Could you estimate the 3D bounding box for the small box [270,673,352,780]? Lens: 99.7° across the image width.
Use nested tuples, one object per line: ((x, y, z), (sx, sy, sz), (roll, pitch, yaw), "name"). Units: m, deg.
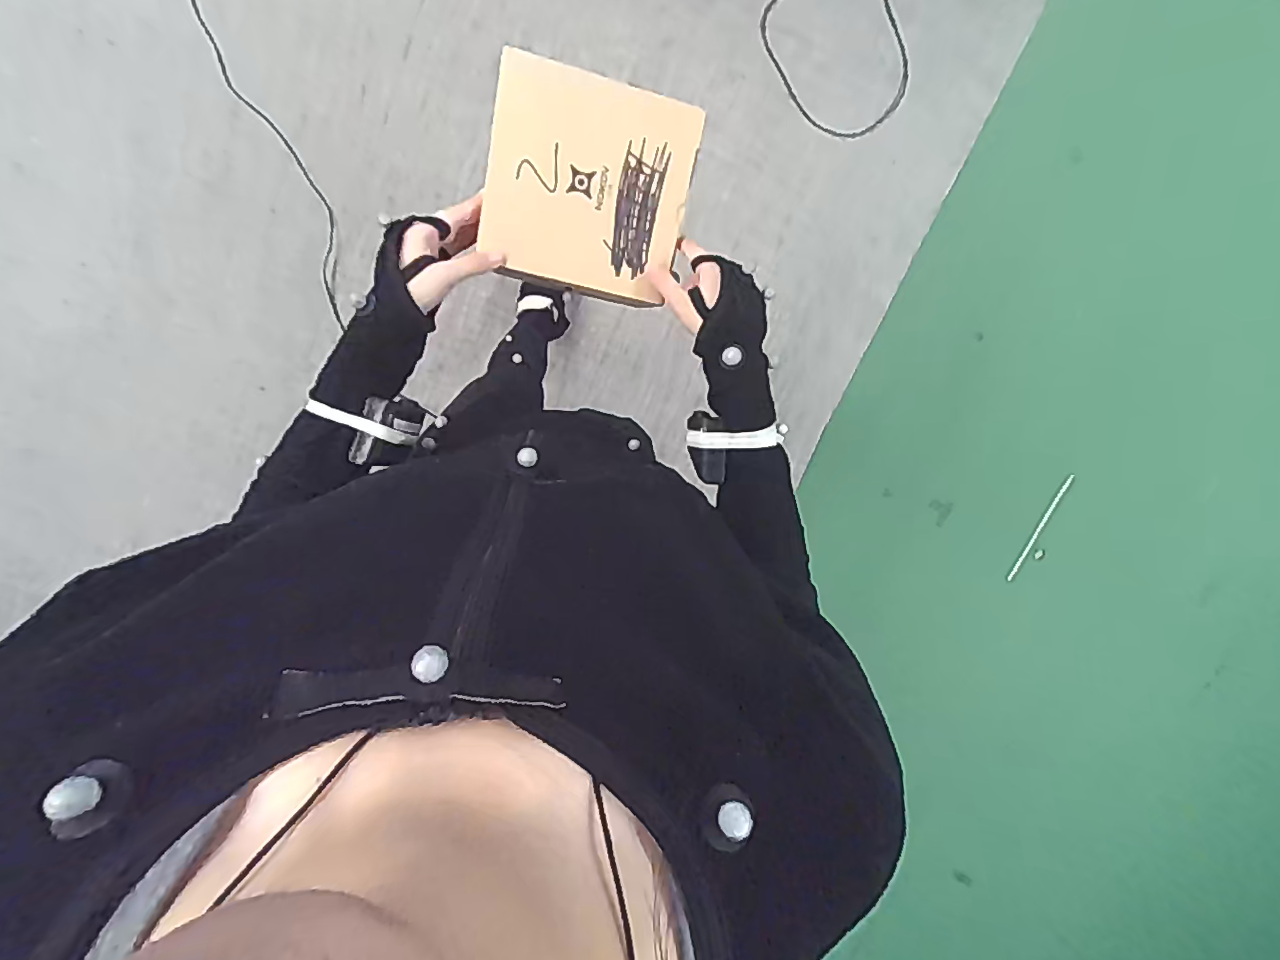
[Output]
((-0.934, 0.675, 1.496), (0.168, 0.176, 0.179), (32, 98, -12), "small box")
